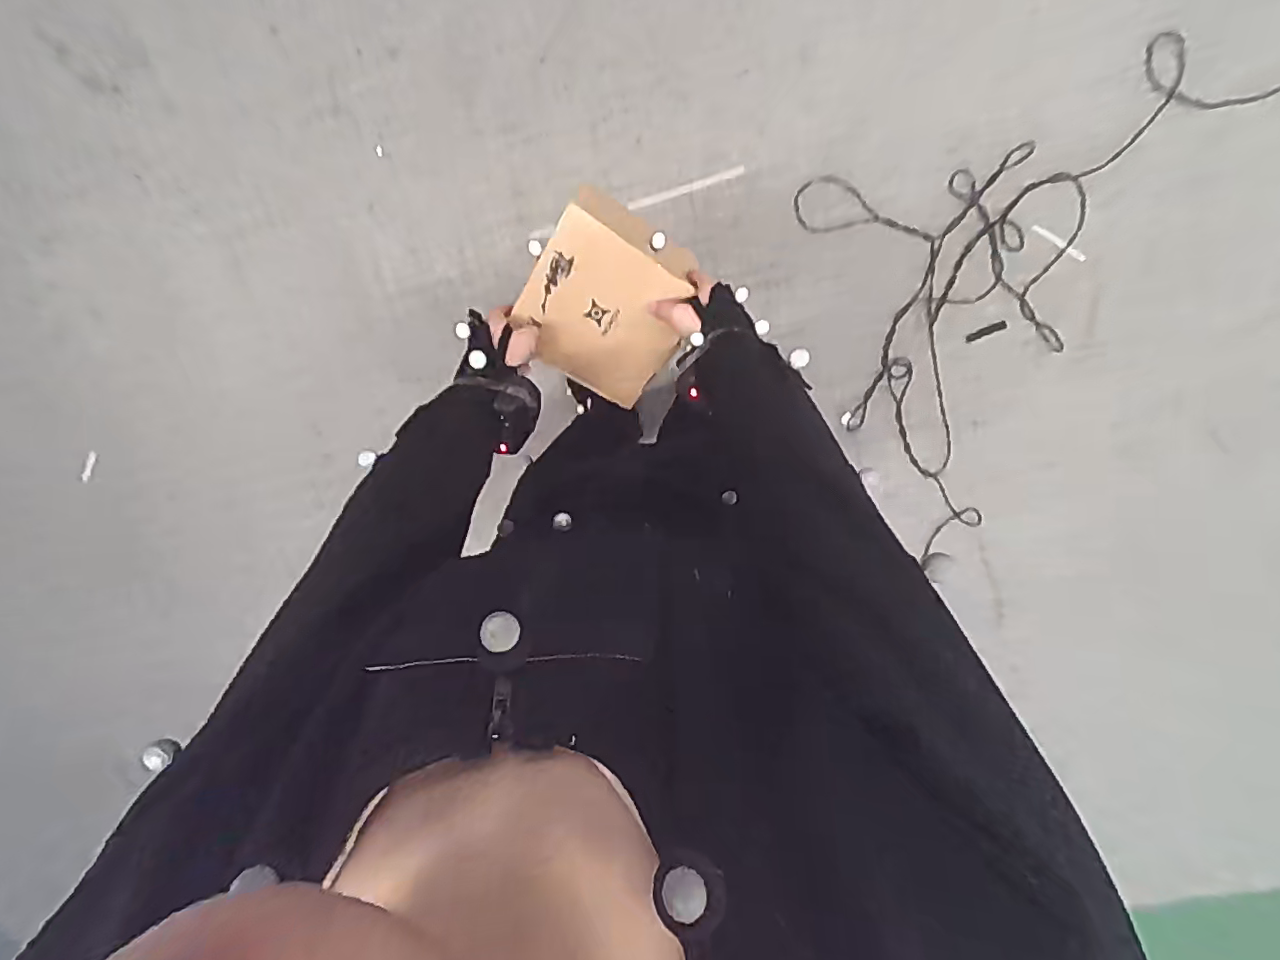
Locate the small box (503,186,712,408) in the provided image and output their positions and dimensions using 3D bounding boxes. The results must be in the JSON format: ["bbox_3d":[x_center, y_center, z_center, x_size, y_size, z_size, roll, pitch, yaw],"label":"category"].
[{"bbox_3d":[-0.038,-0.226,0.655,0.179,0.176,0.168,28,121,-20],"label":"small box"}]
